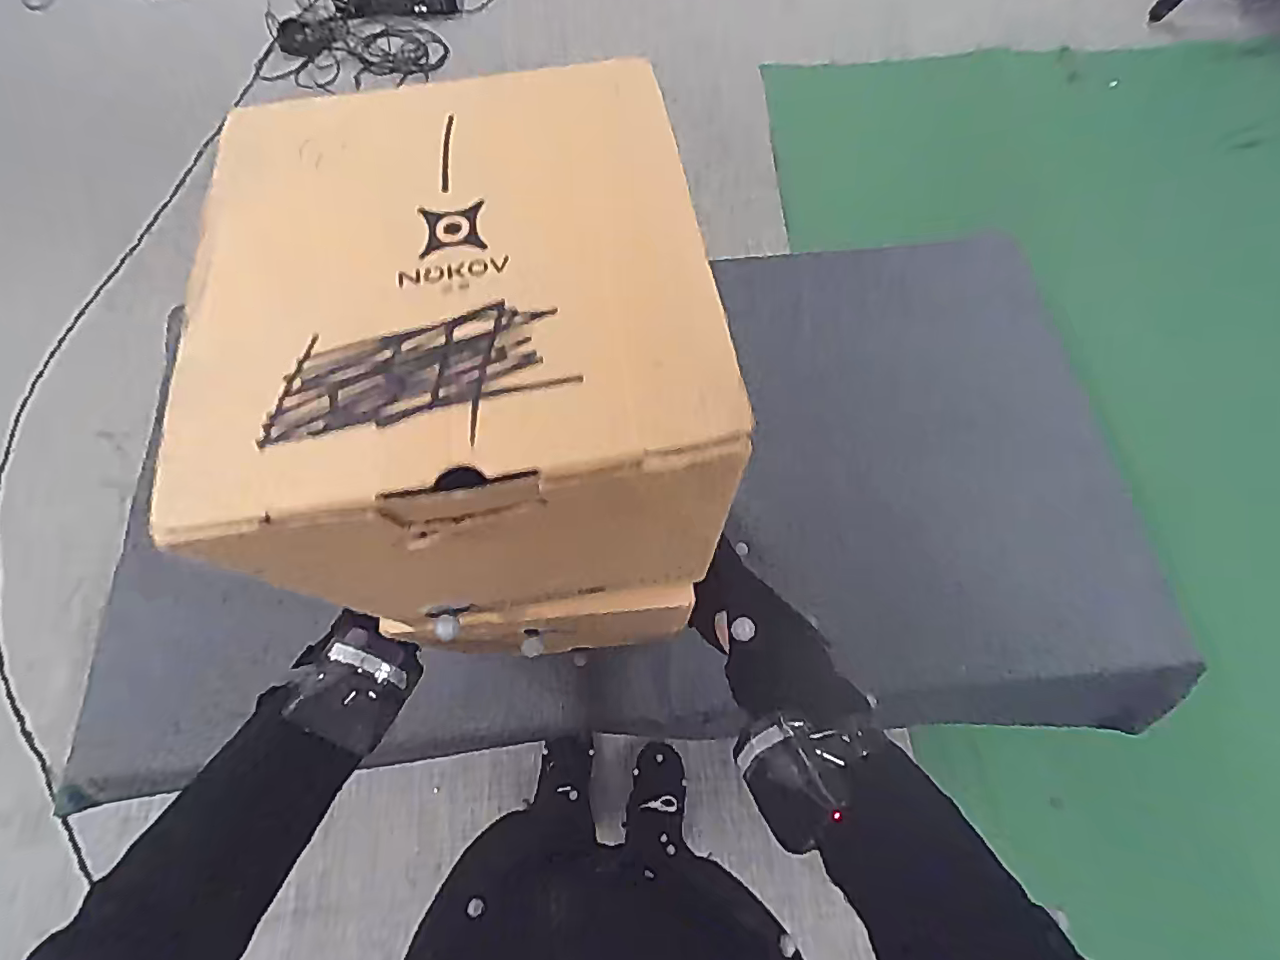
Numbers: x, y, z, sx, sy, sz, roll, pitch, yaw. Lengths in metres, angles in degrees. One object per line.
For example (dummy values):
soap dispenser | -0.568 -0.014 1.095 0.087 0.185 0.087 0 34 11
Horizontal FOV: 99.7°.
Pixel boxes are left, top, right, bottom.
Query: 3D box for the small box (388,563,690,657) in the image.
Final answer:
small box | -0.063 0.032 0.409 0.179 0.176 0.168 -8 66 -2

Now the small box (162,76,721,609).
small box | -0.064 -0.042 0.259 0.168 0.176 0.179 -9 66 -2
